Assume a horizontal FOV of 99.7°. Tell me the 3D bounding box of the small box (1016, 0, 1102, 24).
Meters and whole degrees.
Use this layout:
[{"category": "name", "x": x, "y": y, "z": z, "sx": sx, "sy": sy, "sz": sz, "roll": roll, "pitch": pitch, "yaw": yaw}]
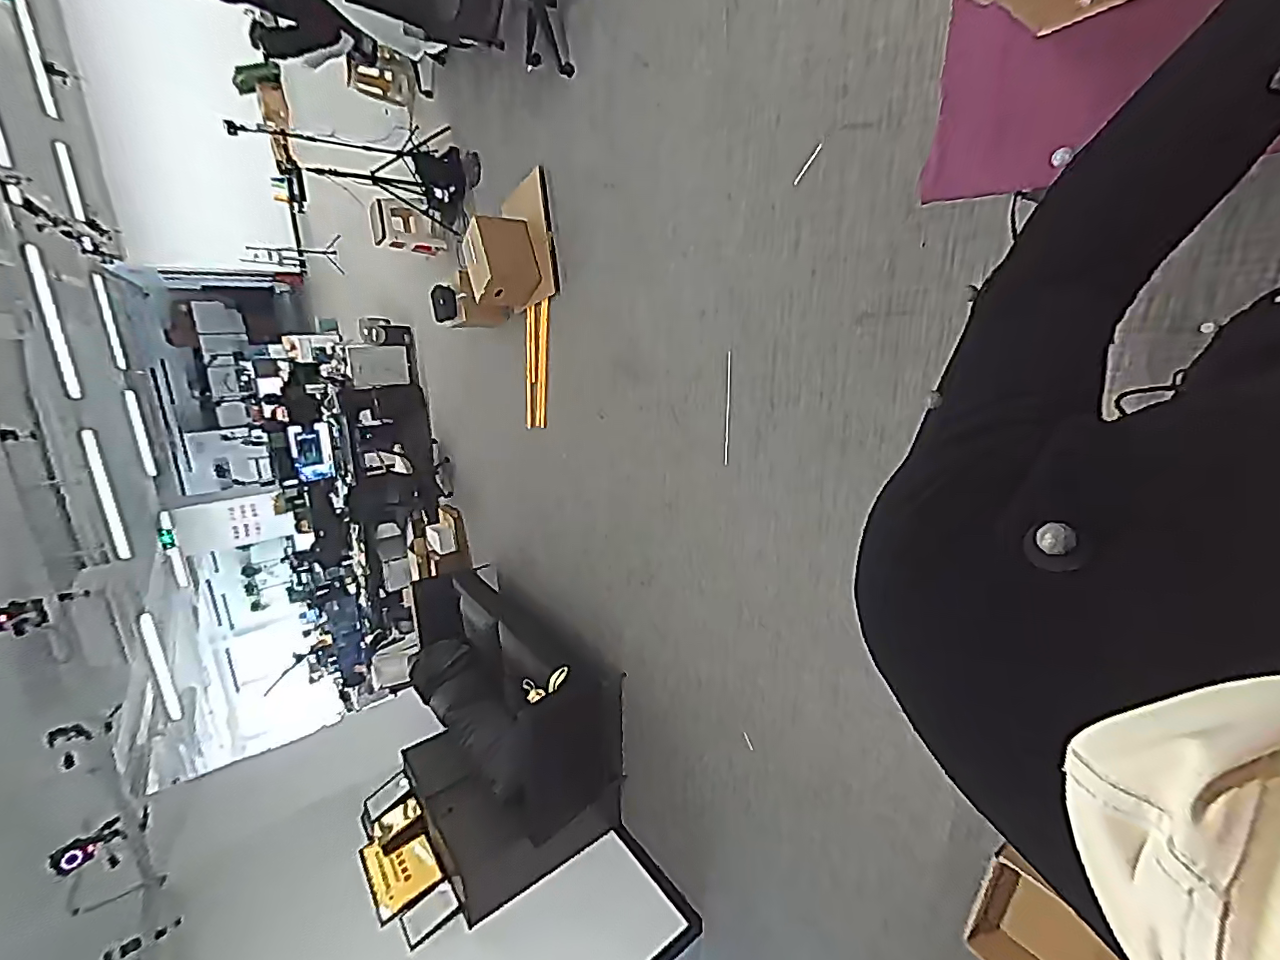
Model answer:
[{"category": "small box", "x": 0.504, "y": -0.655, "z": 0.588, "sx": 0.168, "sy": 0.176, "sz": 0.179, "roll": 13, "pitch": 112, "yaw": 51}]
